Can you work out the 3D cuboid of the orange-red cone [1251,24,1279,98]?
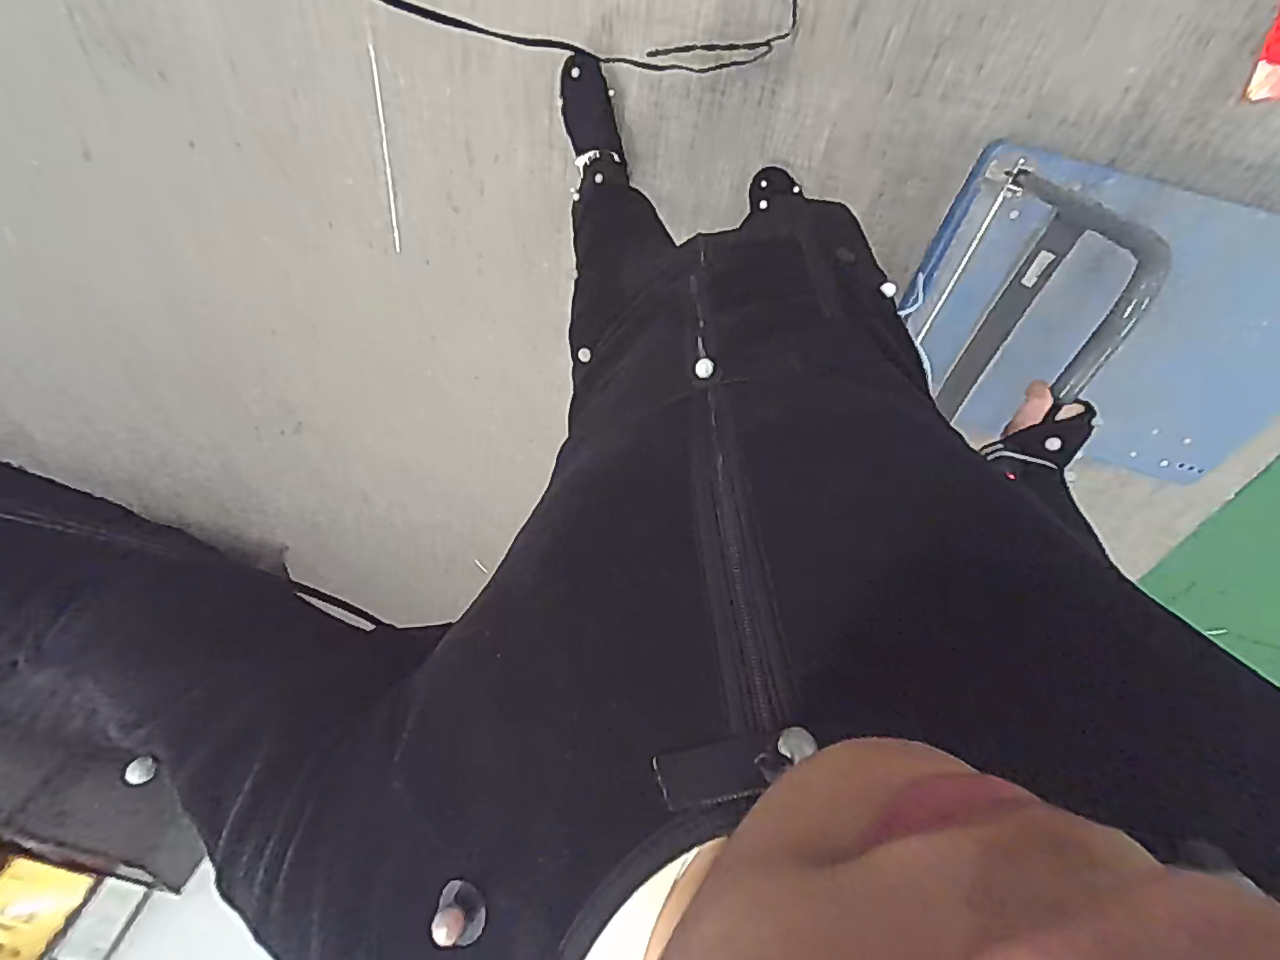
[{"bbox_3d":[1.232,-0.715,0.840,0.198,0.360,0.199,2,126,11],"label":"orange-red cone"}]
